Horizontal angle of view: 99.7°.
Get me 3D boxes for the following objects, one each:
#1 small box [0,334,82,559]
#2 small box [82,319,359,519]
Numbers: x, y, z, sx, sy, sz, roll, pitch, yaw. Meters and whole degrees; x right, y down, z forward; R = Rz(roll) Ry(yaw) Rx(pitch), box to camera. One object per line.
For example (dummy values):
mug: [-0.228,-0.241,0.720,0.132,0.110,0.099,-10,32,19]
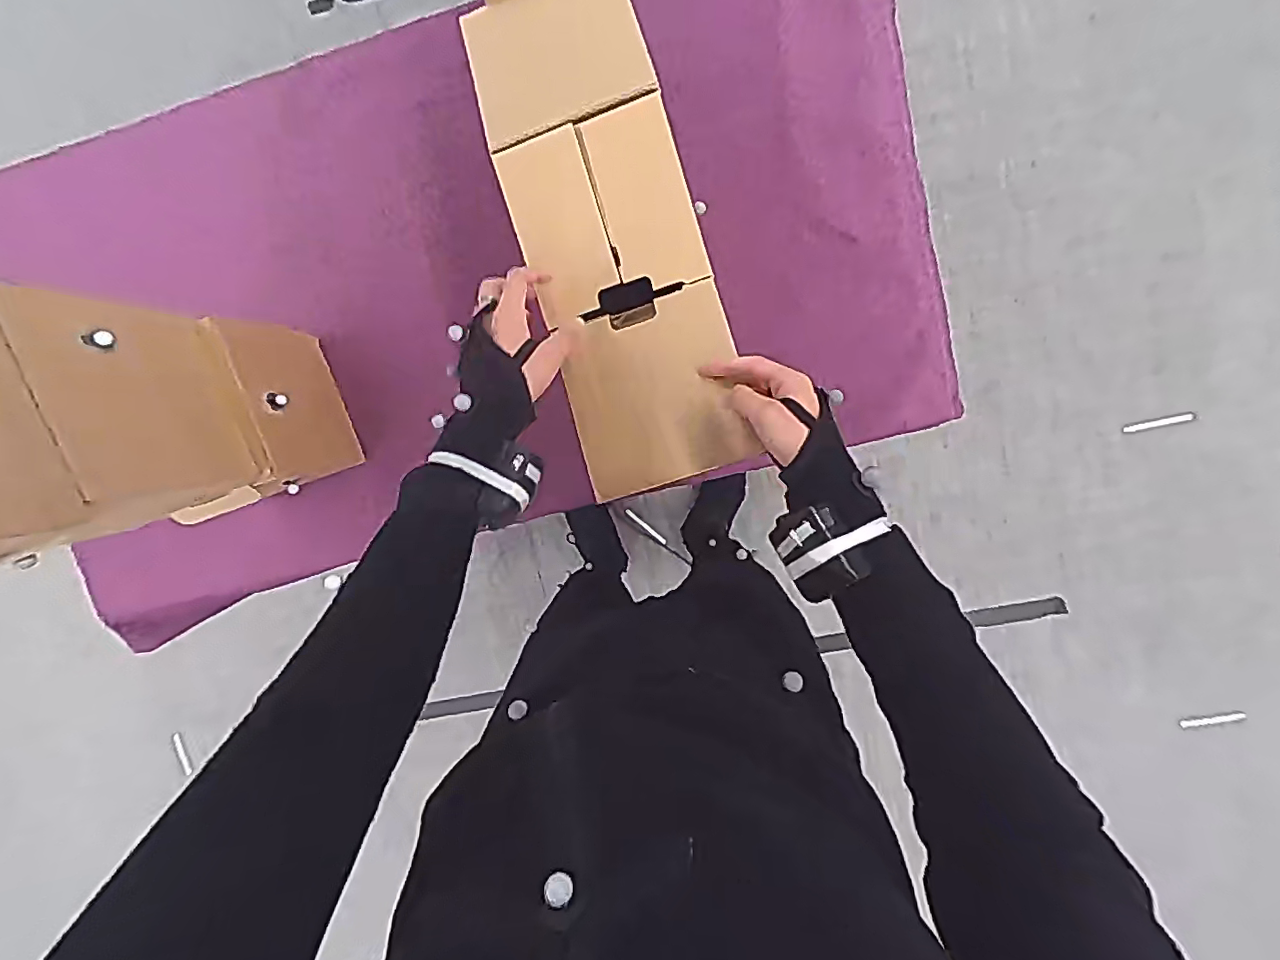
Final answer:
small box: [-0.513,-0.013,0.320,0.168,0.176,0.179,-20,95,8]
small box: [-0.474,-0.073,0.643,0.168,0.176,0.179,-17,96,6]
